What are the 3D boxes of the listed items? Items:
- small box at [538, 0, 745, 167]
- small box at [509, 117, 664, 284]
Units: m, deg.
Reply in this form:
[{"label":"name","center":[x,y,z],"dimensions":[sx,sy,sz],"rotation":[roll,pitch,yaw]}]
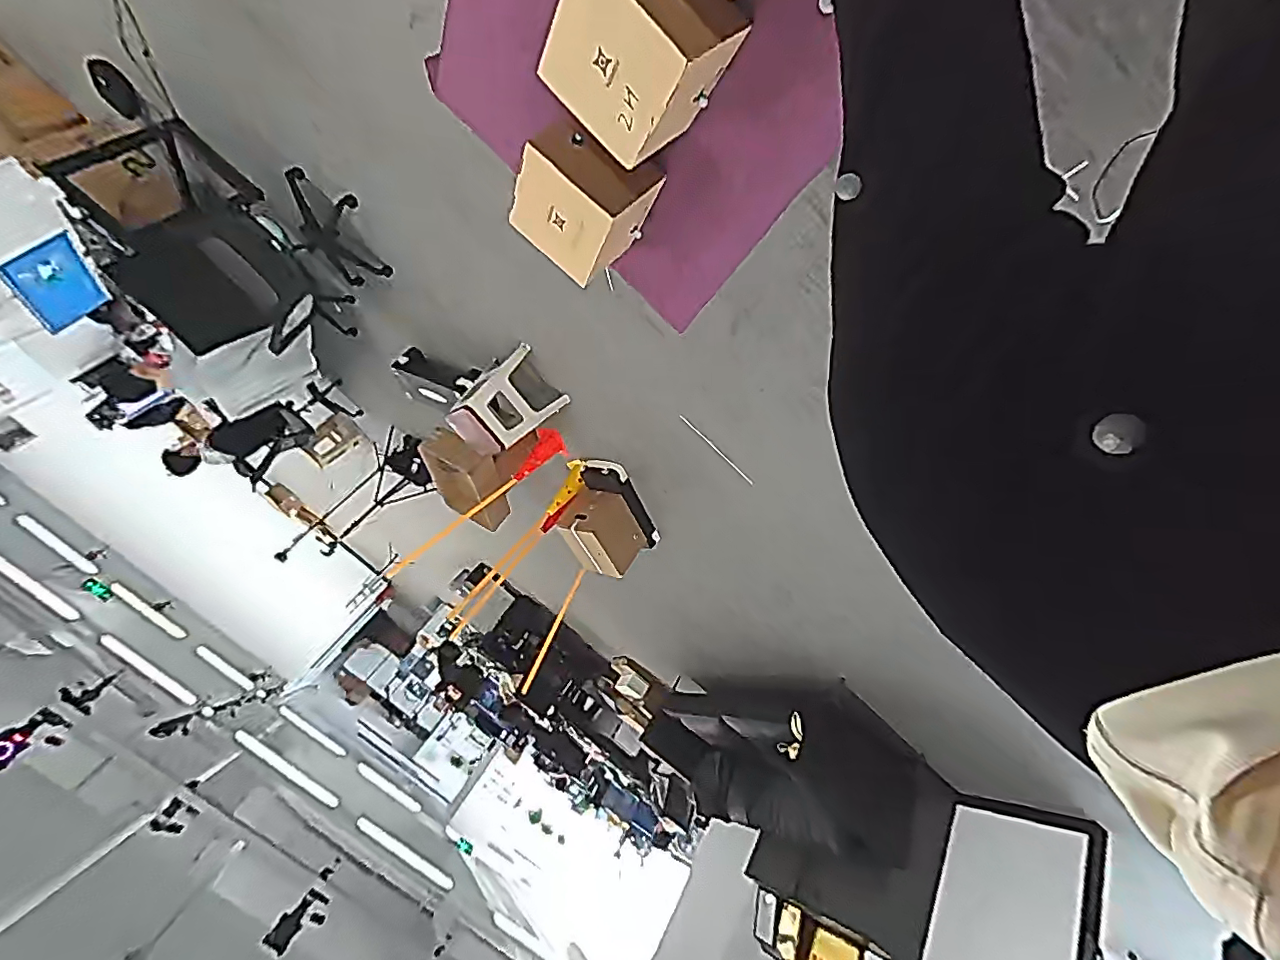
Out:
[{"label":"small box","center":[0.003,-0.568,0.713],"dimensions":[0.179,0.176,0.168],"rotation":[43,149,-10]},{"label":"small box","center":[-0.092,-0.484,0.928],"dimensions":[0.179,0.176,0.168],"rotation":[40,150,-5]}]
